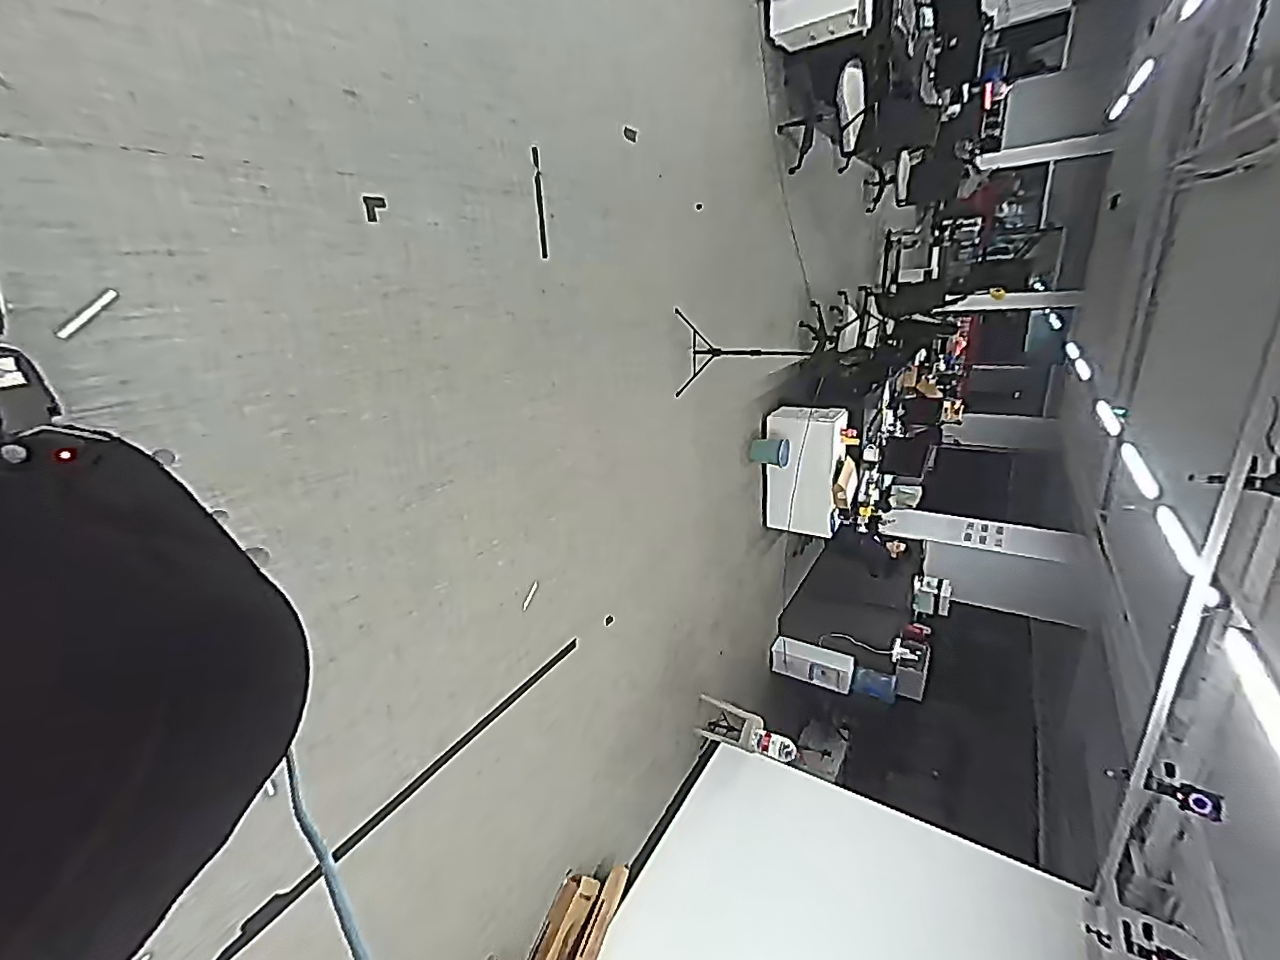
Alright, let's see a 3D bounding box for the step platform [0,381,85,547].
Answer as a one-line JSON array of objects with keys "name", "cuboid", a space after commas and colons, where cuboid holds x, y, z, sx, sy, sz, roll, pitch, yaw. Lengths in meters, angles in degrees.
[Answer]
[{"name": "step platform", "cuboid": [-1.305, 0.025, 0.792, 0.684, 0.204, 0.286, -23, 114, -52]}]
